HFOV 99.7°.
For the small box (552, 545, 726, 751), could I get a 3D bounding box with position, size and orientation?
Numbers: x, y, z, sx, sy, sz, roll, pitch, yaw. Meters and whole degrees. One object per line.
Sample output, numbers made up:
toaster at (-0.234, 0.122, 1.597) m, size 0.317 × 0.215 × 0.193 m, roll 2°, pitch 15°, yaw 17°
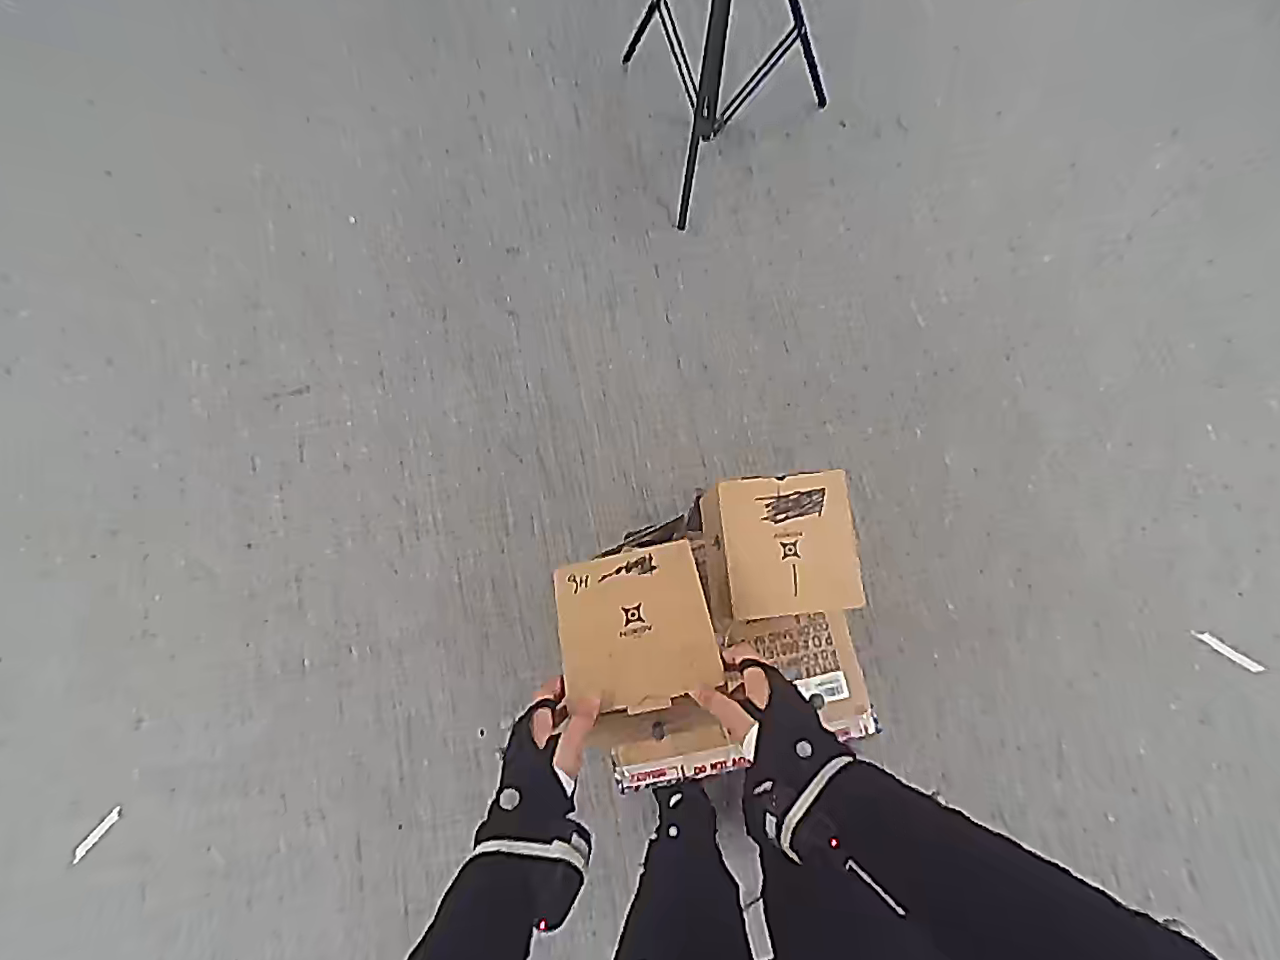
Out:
small box at (0.001, 0.206, 0.640) m, size 0.168 × 0.176 × 0.179 m, roll -12°, pitch 53°, yaw -2°
